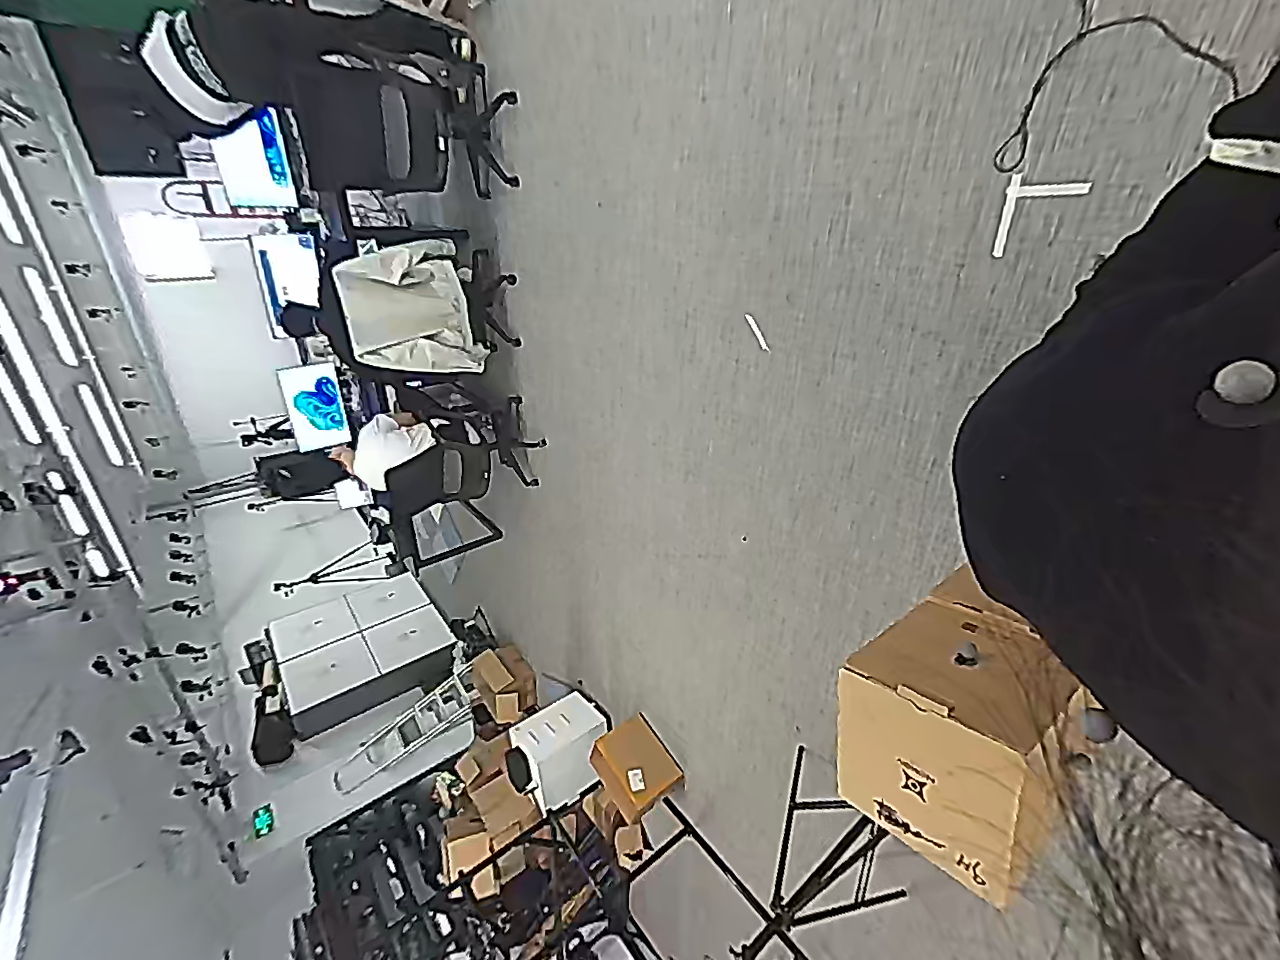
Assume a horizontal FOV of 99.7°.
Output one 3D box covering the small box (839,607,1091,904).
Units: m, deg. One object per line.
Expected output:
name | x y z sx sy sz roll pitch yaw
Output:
small box | 0.328 0.256 0.554 0.168 0.176 0.179 17 118 51
